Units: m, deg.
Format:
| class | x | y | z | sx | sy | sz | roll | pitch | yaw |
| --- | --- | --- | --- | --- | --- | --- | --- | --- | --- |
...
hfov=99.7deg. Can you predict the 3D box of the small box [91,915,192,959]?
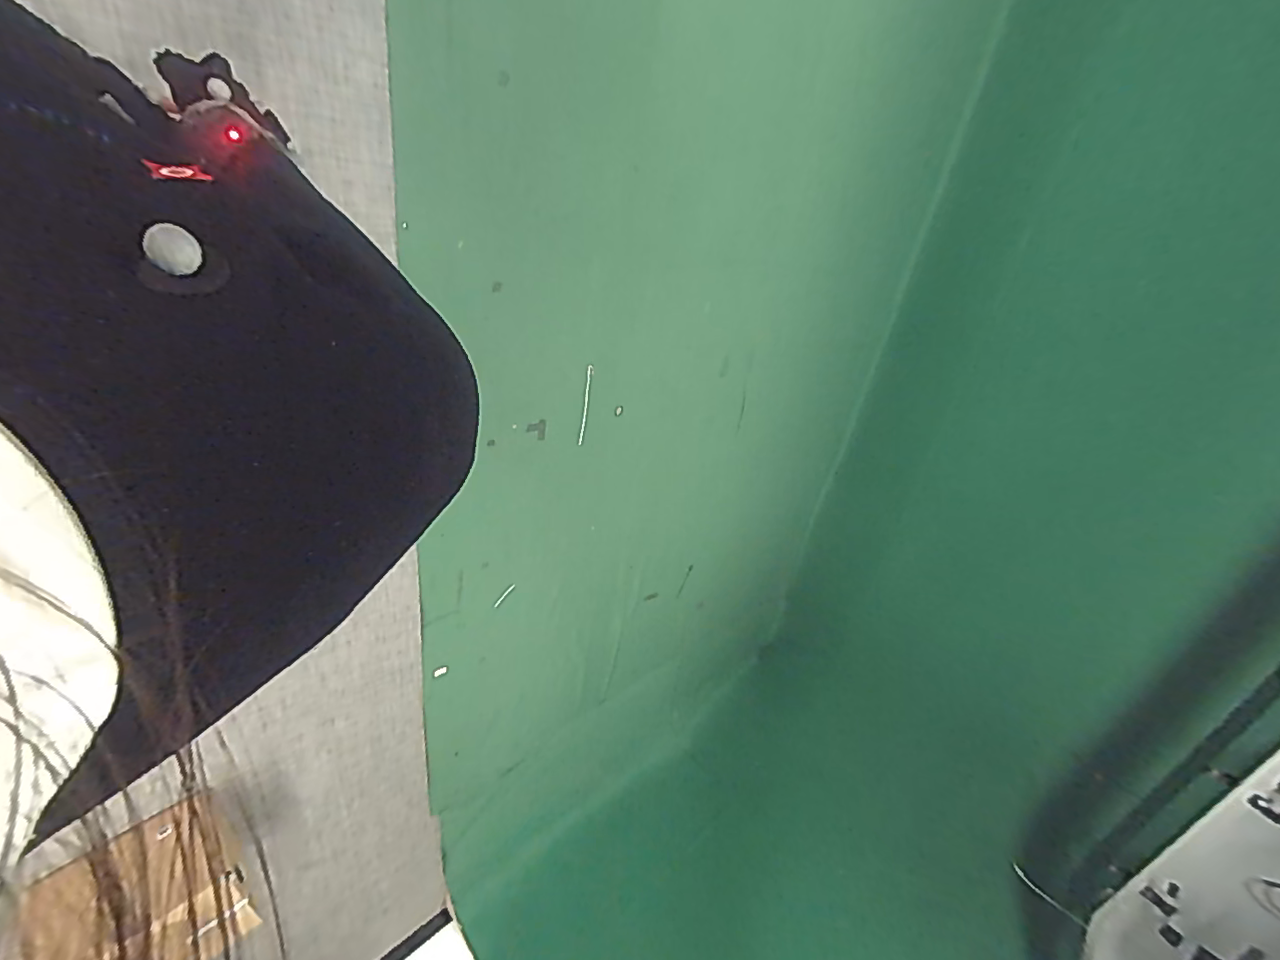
| class | x | y | z | sx | sy | sz | roll | pitch | yaw |
| --- | --- | --- | --- | --- | --- | --- | --- | --- | --- |
| small box | -1.235 | 1.242 | 1.339 | 0.179 | 0.176 | 0.168 | -21 | 130 | -38 |
